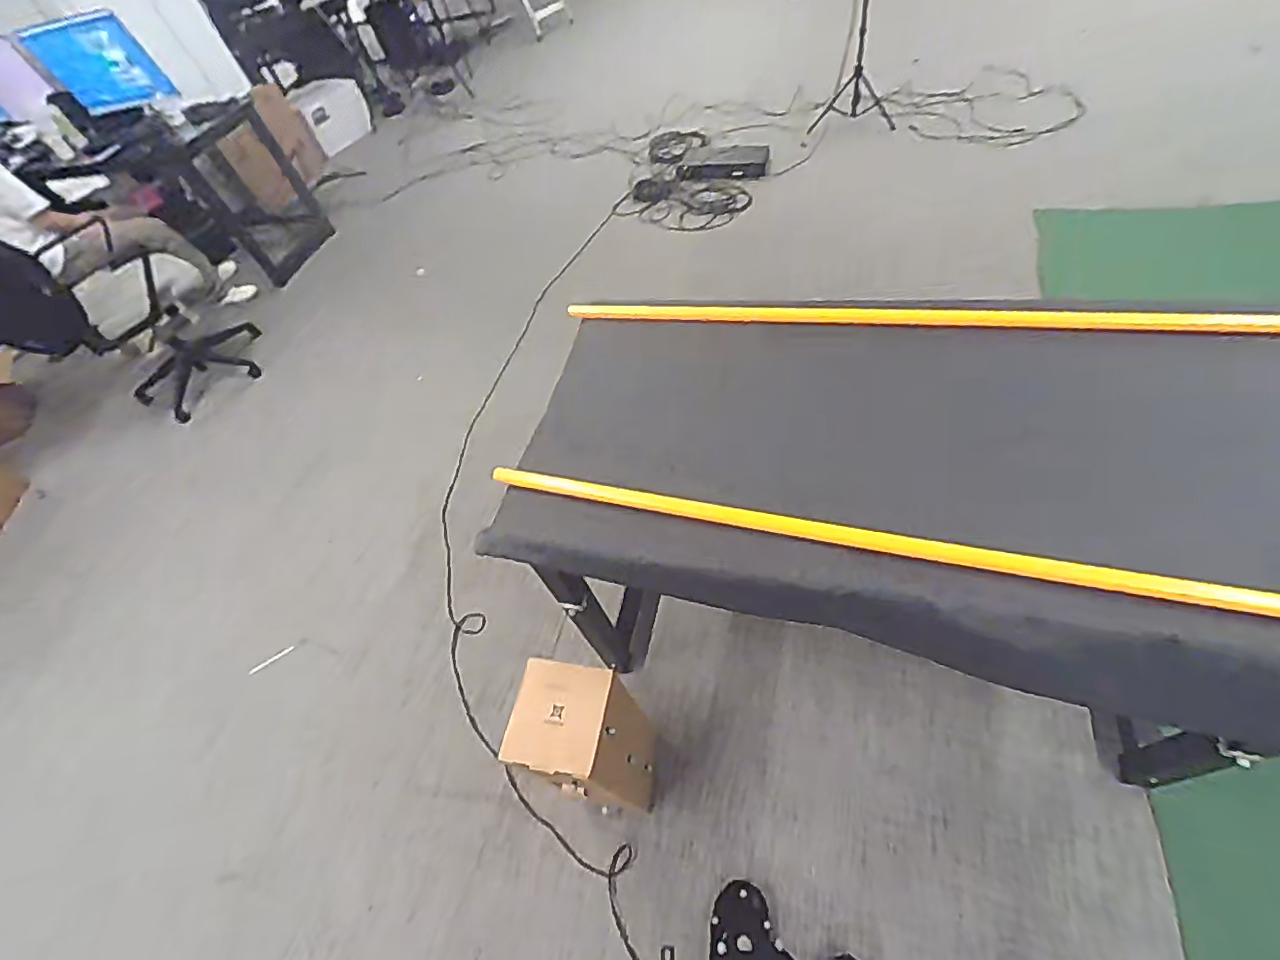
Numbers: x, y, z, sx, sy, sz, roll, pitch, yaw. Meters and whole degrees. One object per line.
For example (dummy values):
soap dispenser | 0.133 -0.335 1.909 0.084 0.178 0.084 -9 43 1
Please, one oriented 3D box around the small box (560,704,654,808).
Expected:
small box | -0.067 0.633 1.240 0.168 0.176 0.179 0 55 14
